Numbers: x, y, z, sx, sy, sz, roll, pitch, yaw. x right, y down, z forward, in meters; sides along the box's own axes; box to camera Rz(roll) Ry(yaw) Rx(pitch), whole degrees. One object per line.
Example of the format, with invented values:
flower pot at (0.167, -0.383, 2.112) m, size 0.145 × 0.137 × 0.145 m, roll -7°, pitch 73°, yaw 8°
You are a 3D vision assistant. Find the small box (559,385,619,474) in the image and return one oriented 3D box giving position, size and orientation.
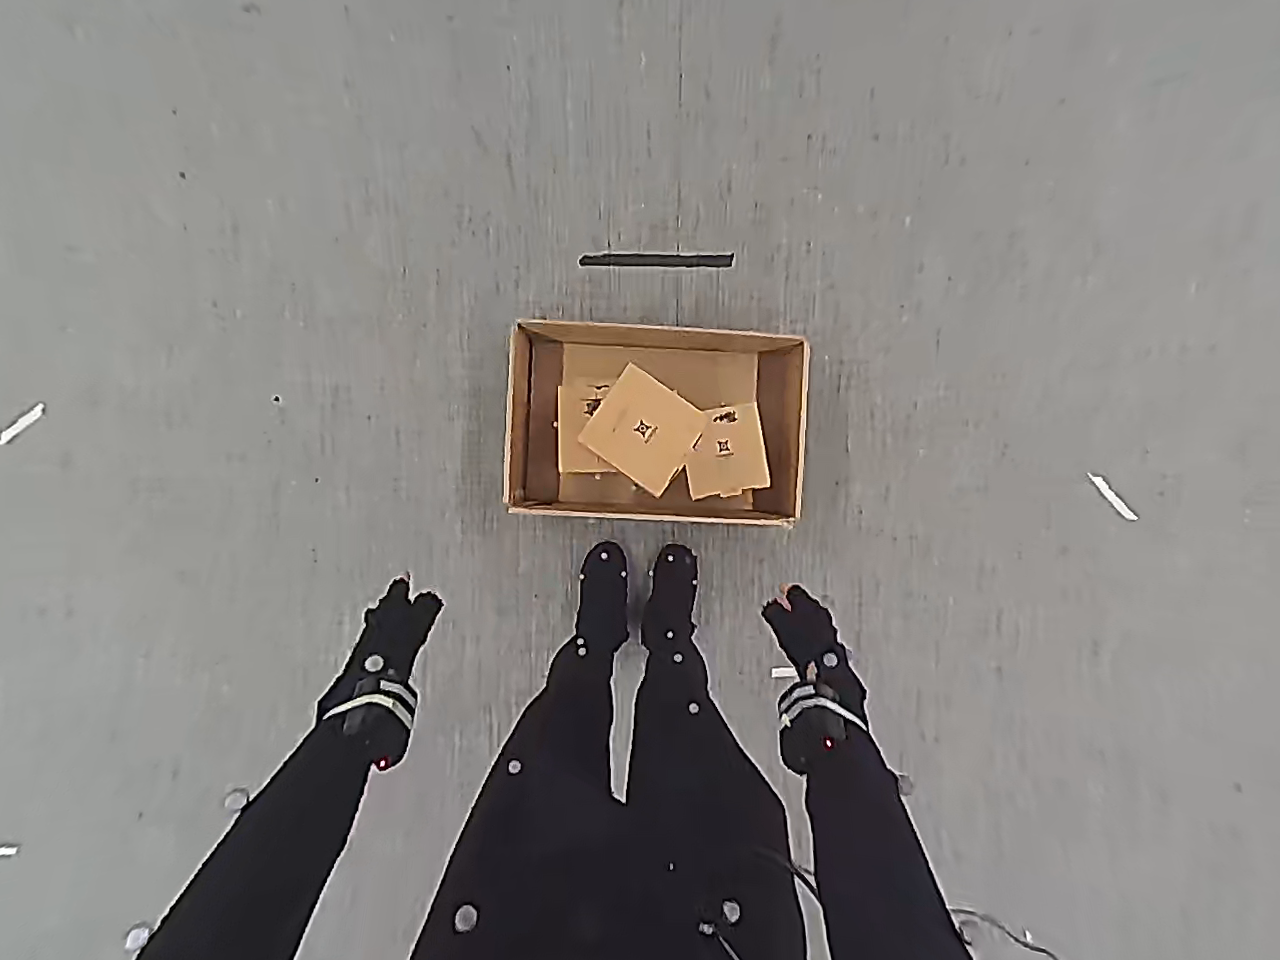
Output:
small box at (-0.083, -0.102, 1.159) m, size 0.168 × 0.176 × 0.179 m, roll 0°, pitch 91°, yaw -3°

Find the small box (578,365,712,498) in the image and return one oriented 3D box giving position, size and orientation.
small box at (0.007, -0.084, 1.000) m, size 0.179 × 0.176 × 0.168 m, roll 34°, pitch 87°, yaw -1°
